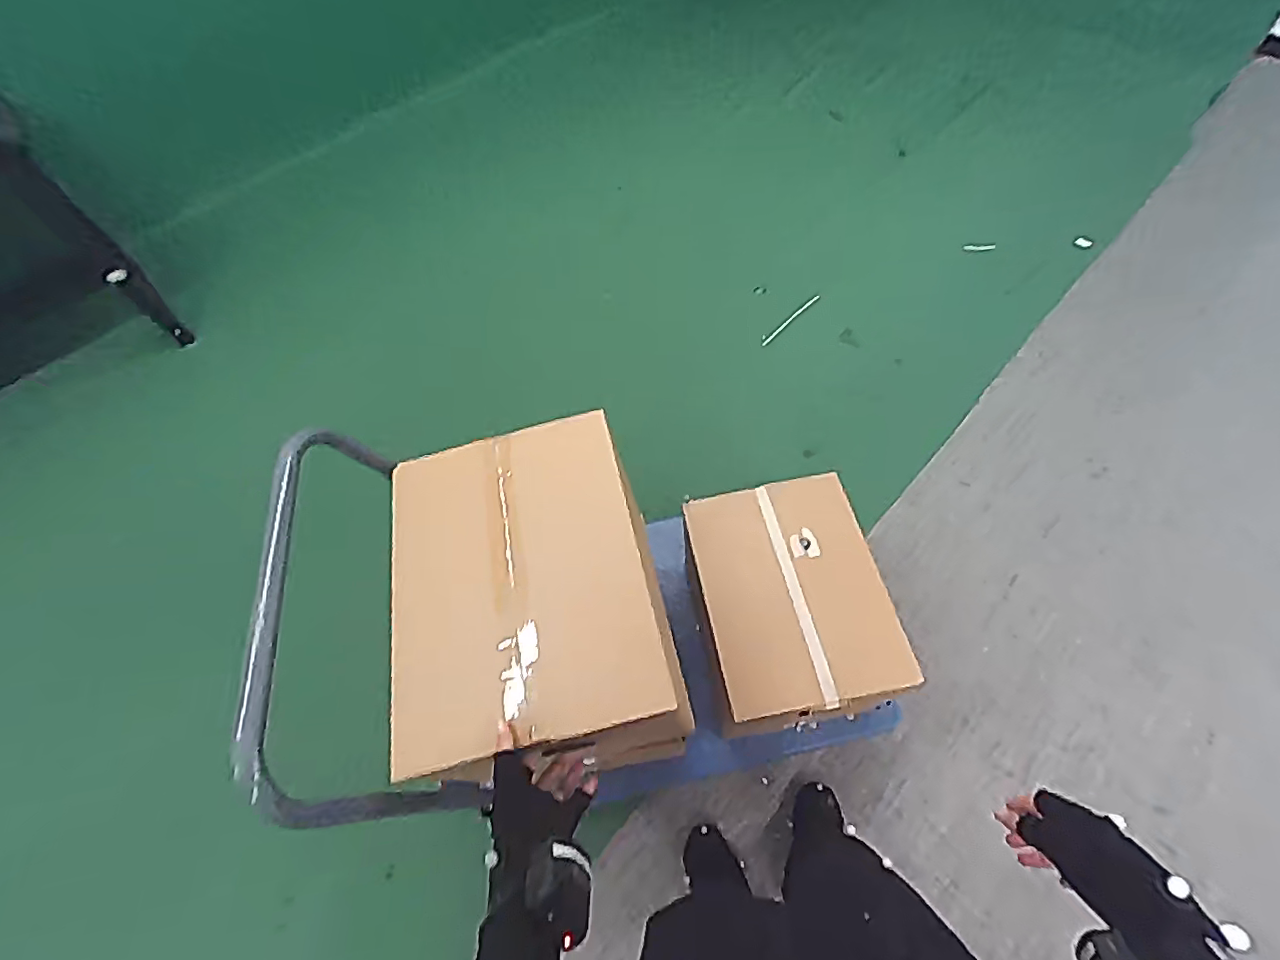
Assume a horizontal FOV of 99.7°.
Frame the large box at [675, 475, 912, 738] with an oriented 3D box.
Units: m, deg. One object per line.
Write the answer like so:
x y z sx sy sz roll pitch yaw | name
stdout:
0.271 0.262 1.091 0.320 0.320 0.408 -11 59 -1 | large box
